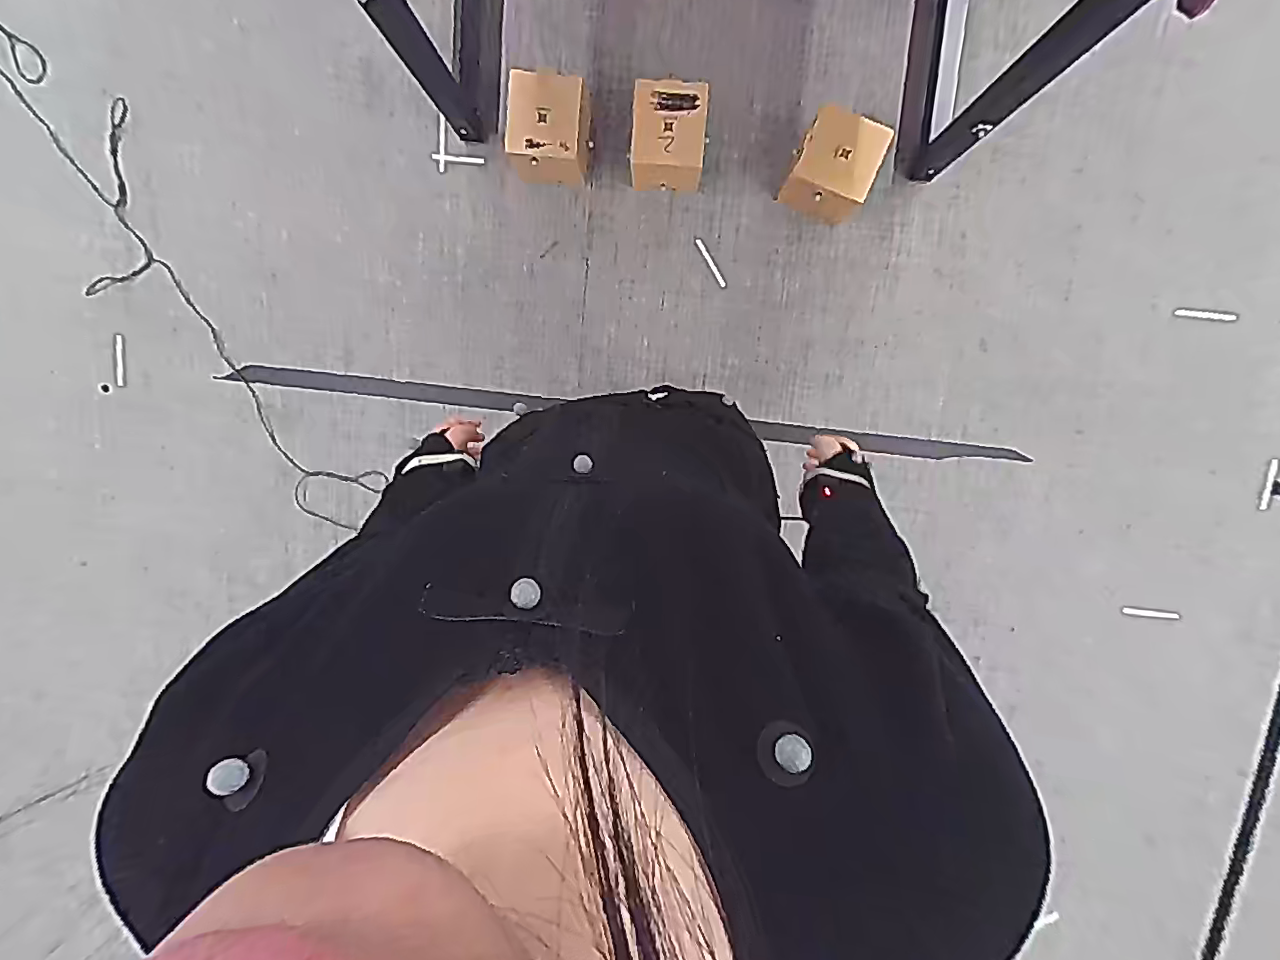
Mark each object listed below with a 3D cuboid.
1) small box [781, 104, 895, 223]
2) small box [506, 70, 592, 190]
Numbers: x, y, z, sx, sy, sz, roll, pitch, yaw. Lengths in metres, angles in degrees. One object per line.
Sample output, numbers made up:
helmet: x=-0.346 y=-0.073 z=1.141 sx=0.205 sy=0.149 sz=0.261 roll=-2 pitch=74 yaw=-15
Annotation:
small box: x=0.458 y=-0.737 z=1.283 sx=0.179 sy=0.176 sz=0.168 roll=23 pitch=99 yaw=0
small box: x=-0.210 y=-0.826 z=1.290 sx=0.168 sy=0.176 sz=0.179 roll=7 pitch=97 yaw=1
